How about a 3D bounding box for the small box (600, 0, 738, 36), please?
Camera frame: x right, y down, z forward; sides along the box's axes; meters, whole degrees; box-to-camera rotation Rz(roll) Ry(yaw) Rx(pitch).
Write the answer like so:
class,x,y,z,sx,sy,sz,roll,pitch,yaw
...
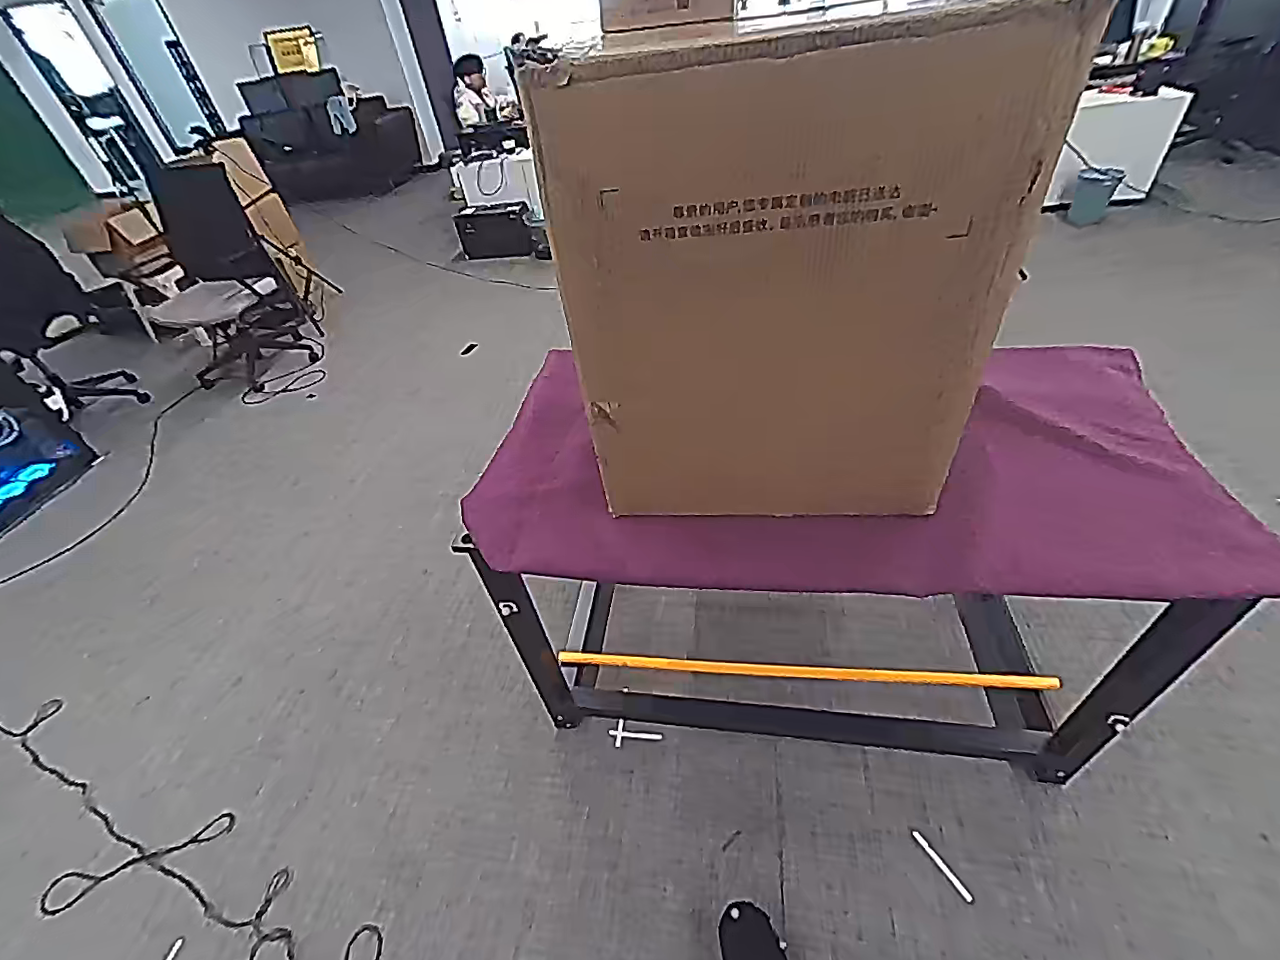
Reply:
class,x,y,z,sx,sy,sz,roll,pitch,yaw
small box,0.038,-0.664,0.666,0.168,0.176,0.179,3,42,10
